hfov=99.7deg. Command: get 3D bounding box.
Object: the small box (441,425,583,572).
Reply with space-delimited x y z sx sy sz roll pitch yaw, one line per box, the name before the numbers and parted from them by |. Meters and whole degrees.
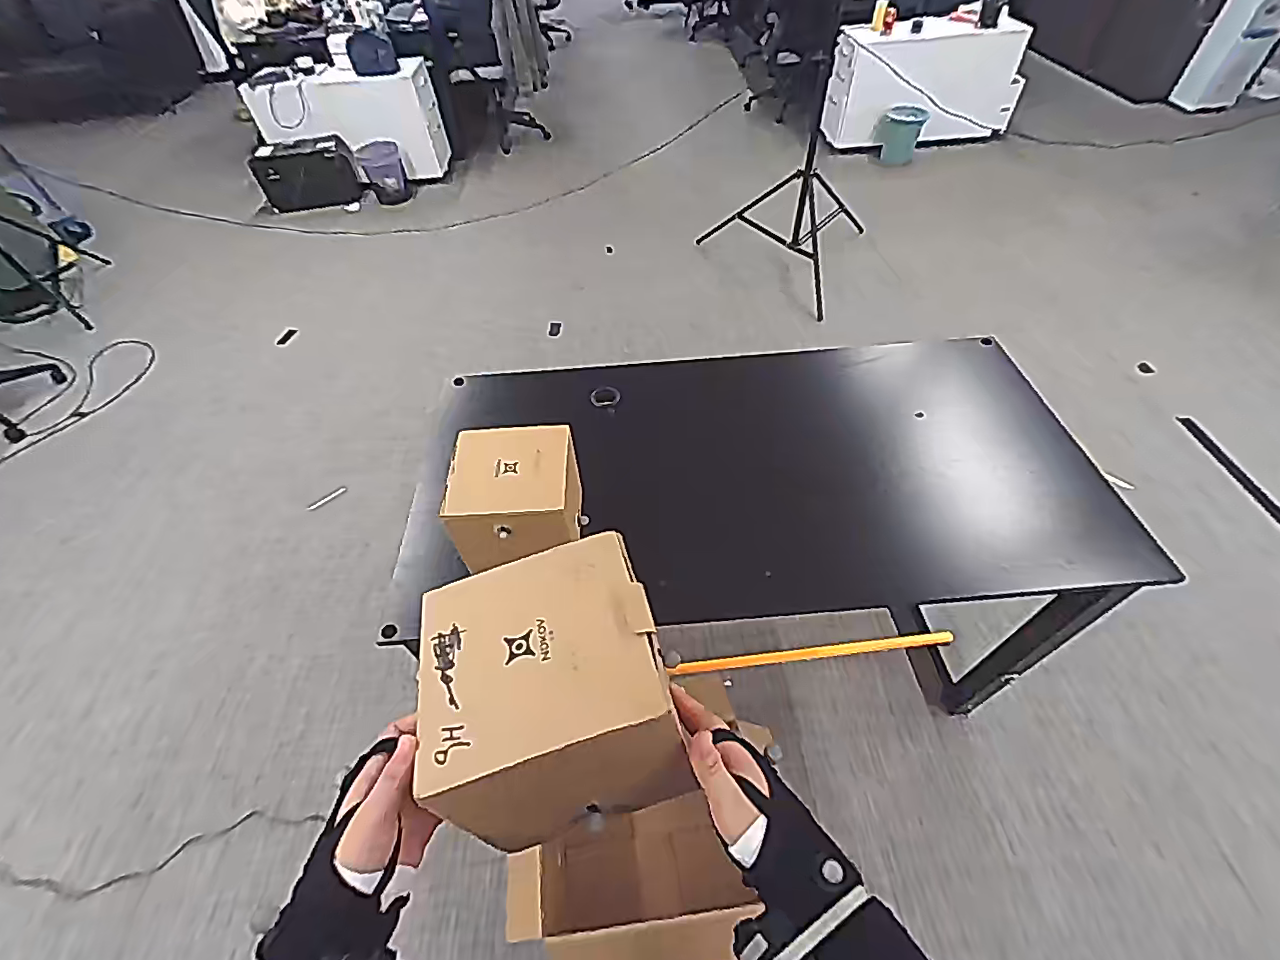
small box | -0.188 0.034 0.850 0.179 0.176 0.168 -3 52 -1
